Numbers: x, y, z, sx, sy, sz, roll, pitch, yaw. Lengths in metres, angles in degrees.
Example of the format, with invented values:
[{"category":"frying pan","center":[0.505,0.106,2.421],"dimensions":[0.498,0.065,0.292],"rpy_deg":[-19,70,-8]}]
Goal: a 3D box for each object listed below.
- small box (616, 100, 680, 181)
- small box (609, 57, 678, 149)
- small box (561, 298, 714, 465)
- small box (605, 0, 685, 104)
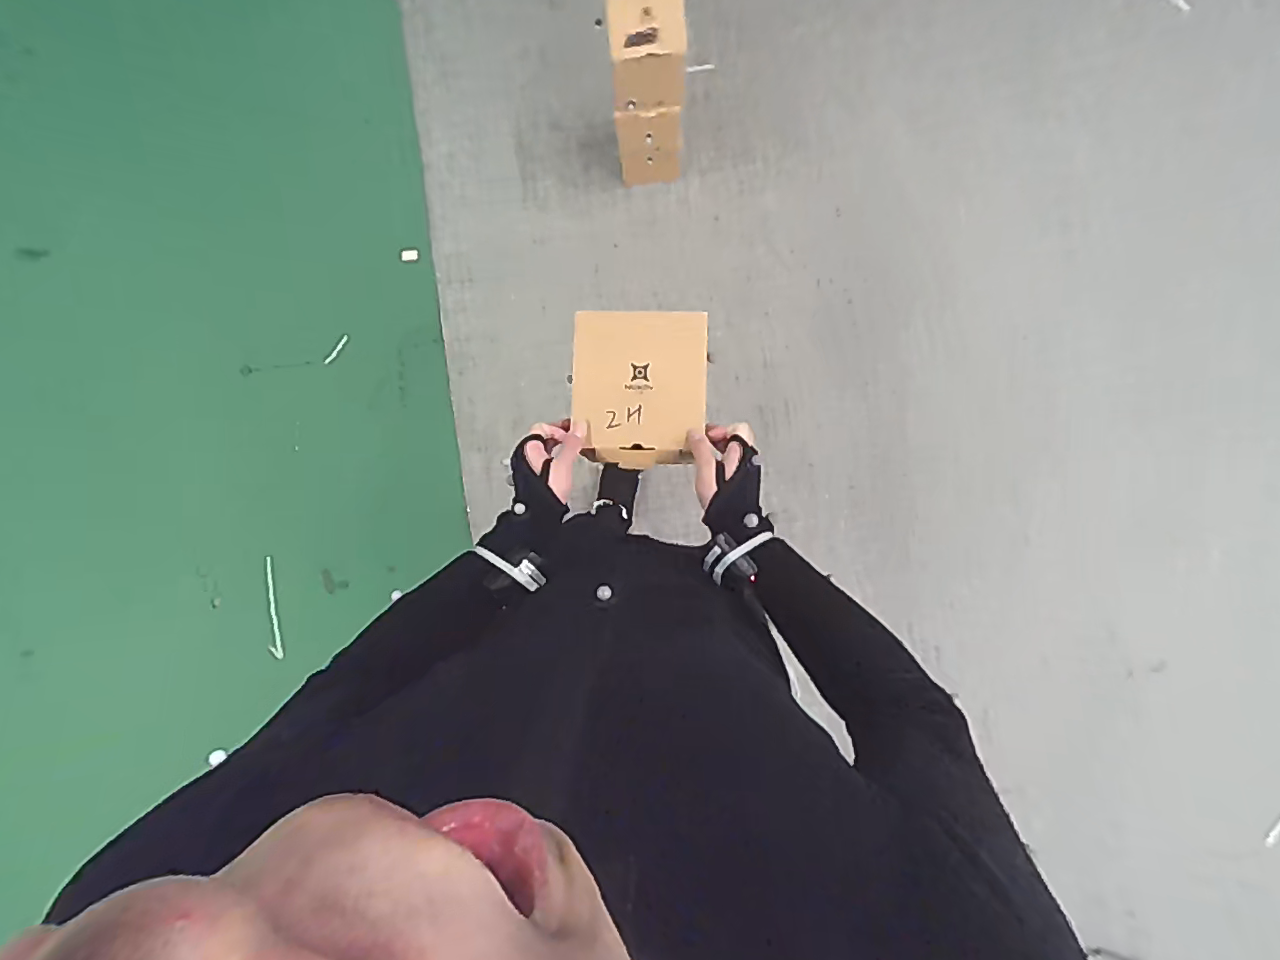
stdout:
[{"category":"small box","center":[0.025,-0.985,1.549],"dimensions":[0.179,0.176,0.168],"rpy_deg":[-3,91,2]},{"category":"small box","center":[0.013,-0.979,1.386],"dimensions":[0.168,0.176,0.179],"rpy_deg":[-3,91,2]},{"category":"small box","center":[0.002,-0.123,0.734],"dimensions":[0.168,0.176,0.179],"rpy_deg":[9,88,6]},{"category":"small box","center":[0.015,-0.987,1.222],"dimensions":[0.168,0.176,0.179],"rpy_deg":[-5,90,2]}]
